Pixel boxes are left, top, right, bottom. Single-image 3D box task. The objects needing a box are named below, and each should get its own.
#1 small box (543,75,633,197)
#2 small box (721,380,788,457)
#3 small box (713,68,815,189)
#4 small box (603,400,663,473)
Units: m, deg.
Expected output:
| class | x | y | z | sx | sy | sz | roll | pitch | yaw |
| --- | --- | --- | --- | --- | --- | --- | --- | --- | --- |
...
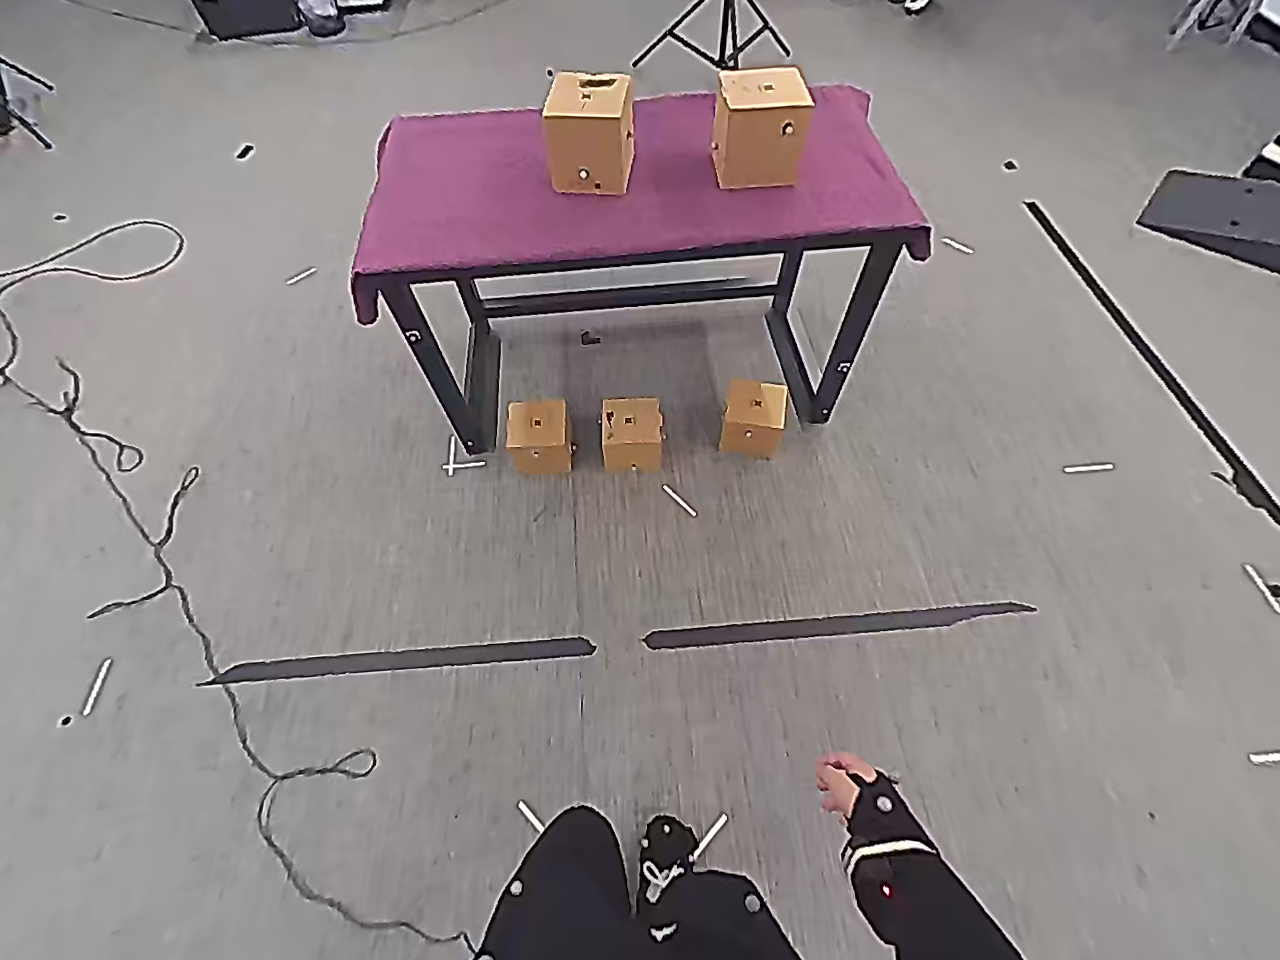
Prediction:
| class | x | y | z | sx | sy | sz | roll | pitch | yaw |
| --- | --- | --- | --- | --- | --- | --- | --- | --- | --- |
| small box | -0.106 | -0.763 | 1.203 | 0.168 | 0.176 | 0.179 | 5 | 60 | 5 |
| small box | 0.356 | -0.188 | 1.695 | 0.179 | 0.176 | 0.168 | 9 | 61 | 9 |
| small box | 0.264 | -0.771 | 1.193 | 0.179 | 0.176 | 0.168 | -4 | 58 | 0 |
| small box | -0.020 | -0.131 | 1.674 | 0.179 | 0.176 | 0.168 | -1 | 60 | 1 |
